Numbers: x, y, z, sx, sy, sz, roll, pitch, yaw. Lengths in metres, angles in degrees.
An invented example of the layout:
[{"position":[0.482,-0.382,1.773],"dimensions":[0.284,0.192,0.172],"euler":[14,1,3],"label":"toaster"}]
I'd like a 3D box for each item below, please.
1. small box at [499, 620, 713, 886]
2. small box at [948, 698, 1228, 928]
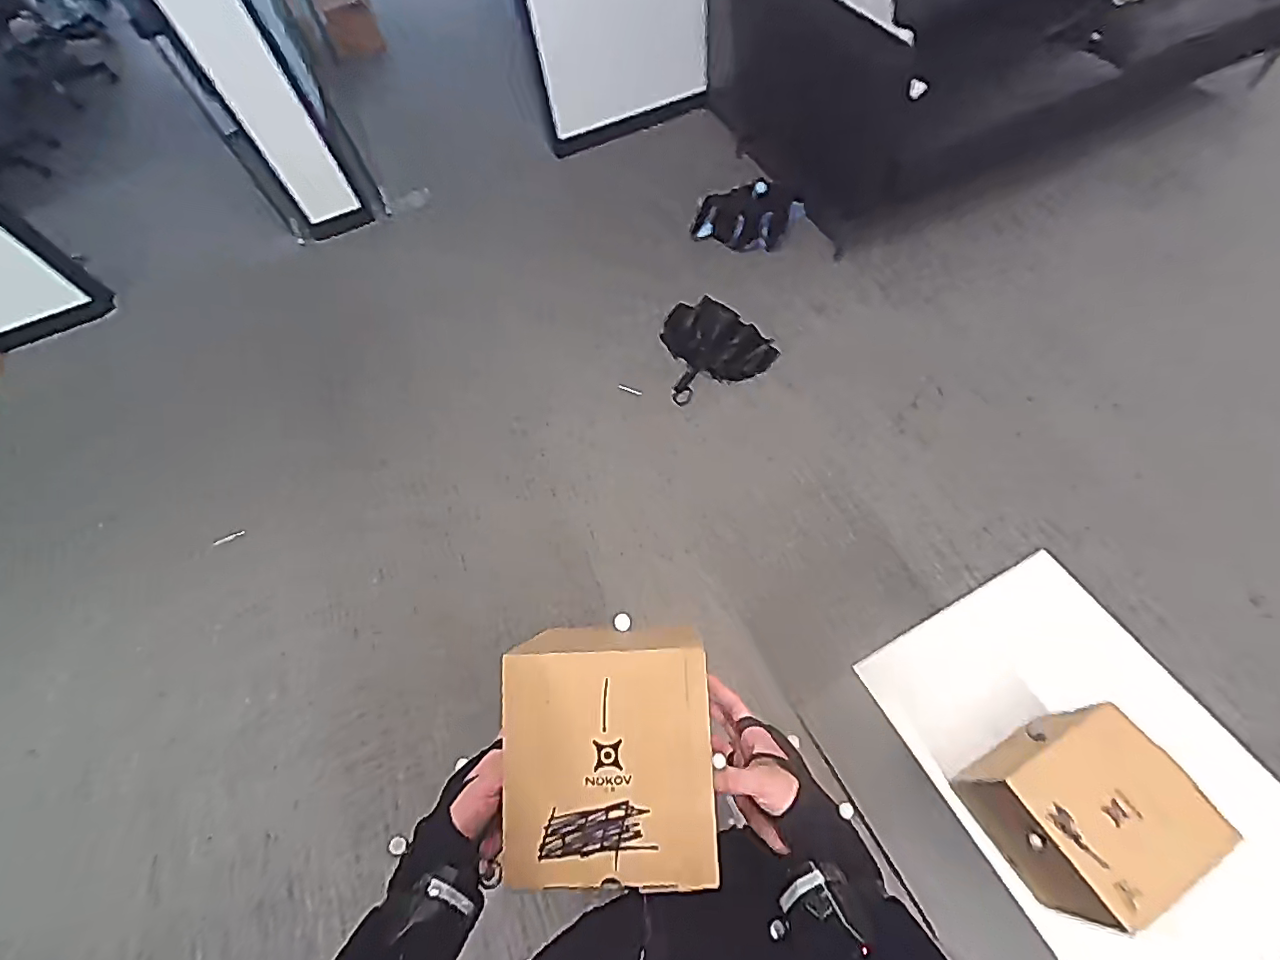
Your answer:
[{"position":[-0.025,0.231,0.500],"dimensions":[0.168,0.176,0.179],"euler":[-4,81,1],"label":"small box"},{"position":[0.534,0.403,0.676],"dimensions":[0.179,0.176,0.168],"euler":[-28,61,-12],"label":"small box"}]
